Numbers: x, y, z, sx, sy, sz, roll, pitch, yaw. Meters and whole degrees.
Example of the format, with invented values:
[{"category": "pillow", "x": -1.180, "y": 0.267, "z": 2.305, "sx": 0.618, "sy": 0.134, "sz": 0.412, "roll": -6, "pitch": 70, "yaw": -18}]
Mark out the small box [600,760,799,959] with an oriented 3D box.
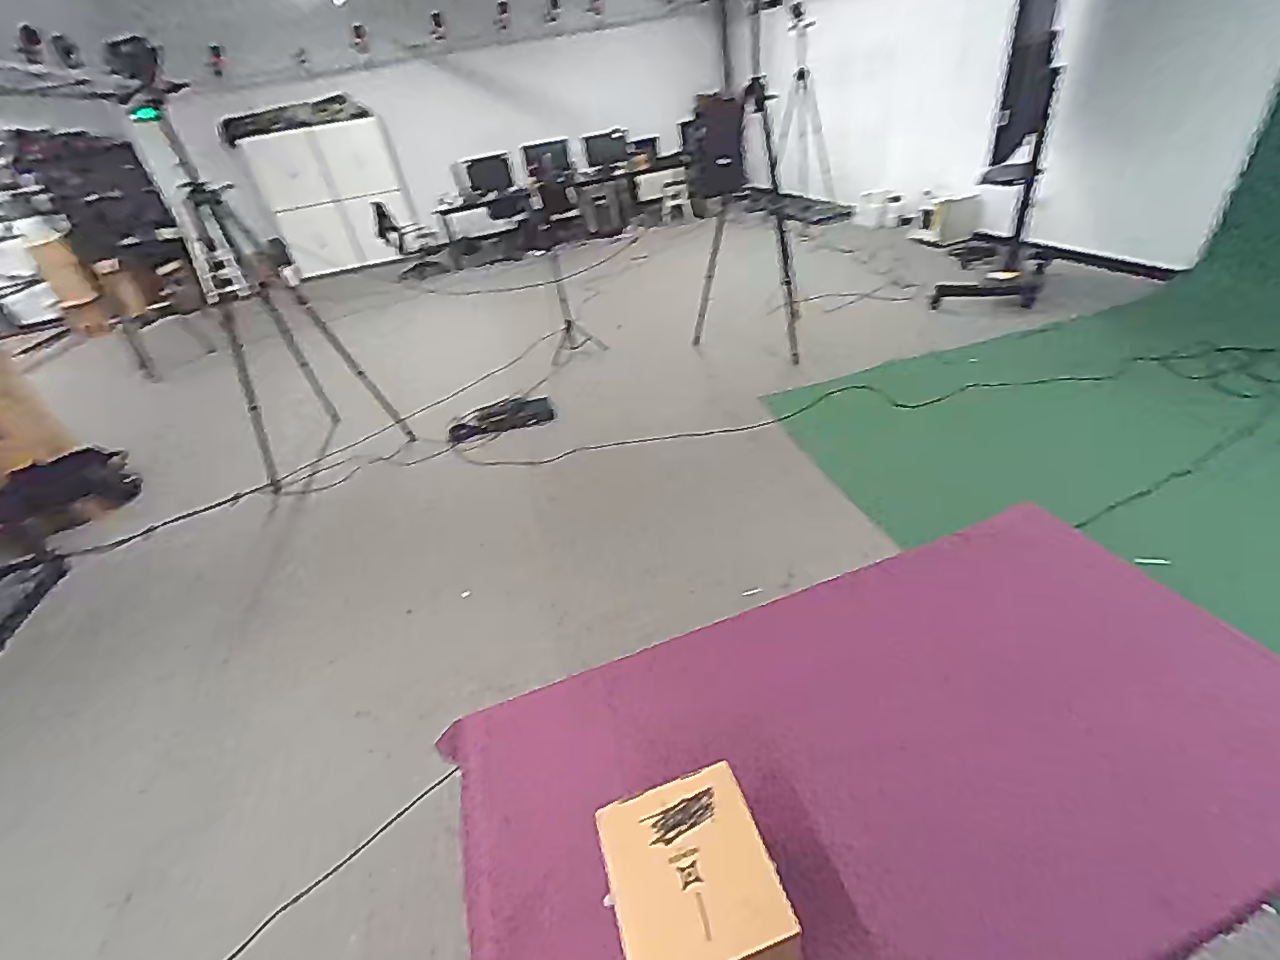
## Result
[{"category": "small box", "x": 0.064, "y": 0.468, "z": 0.618, "sx": 0.168, "sy": 0.176, "sz": 0.179, "roll": -17, "pitch": 36, "yaw": -9}]
